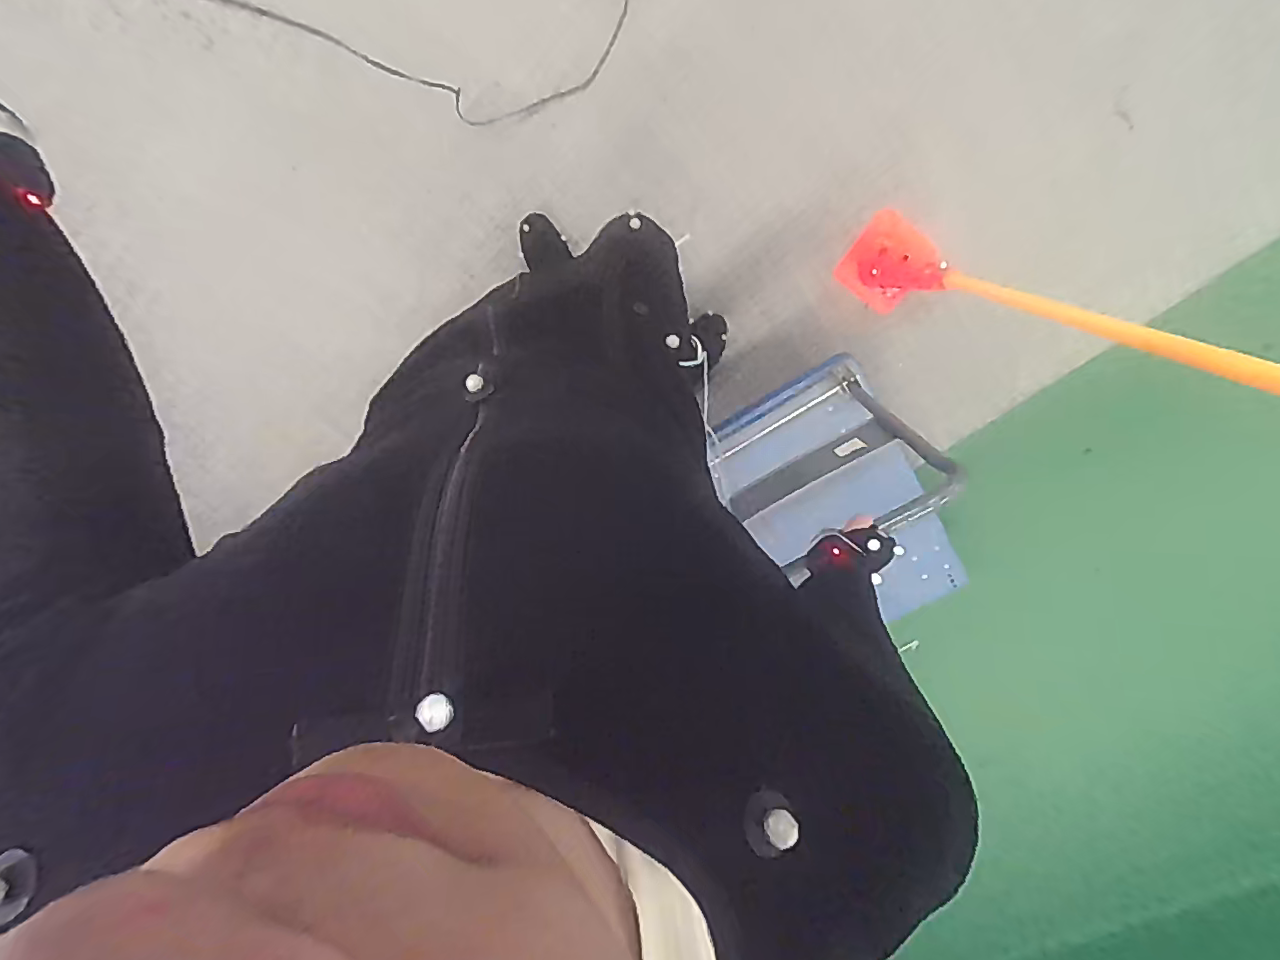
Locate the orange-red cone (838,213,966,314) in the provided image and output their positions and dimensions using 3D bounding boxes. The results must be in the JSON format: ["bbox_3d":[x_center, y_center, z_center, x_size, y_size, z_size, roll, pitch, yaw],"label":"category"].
[{"bbox_3d":[0.646,-0.485,1.259,0.198,0.360,0.199,32,112,-15],"label":"orange-red cone"}]
